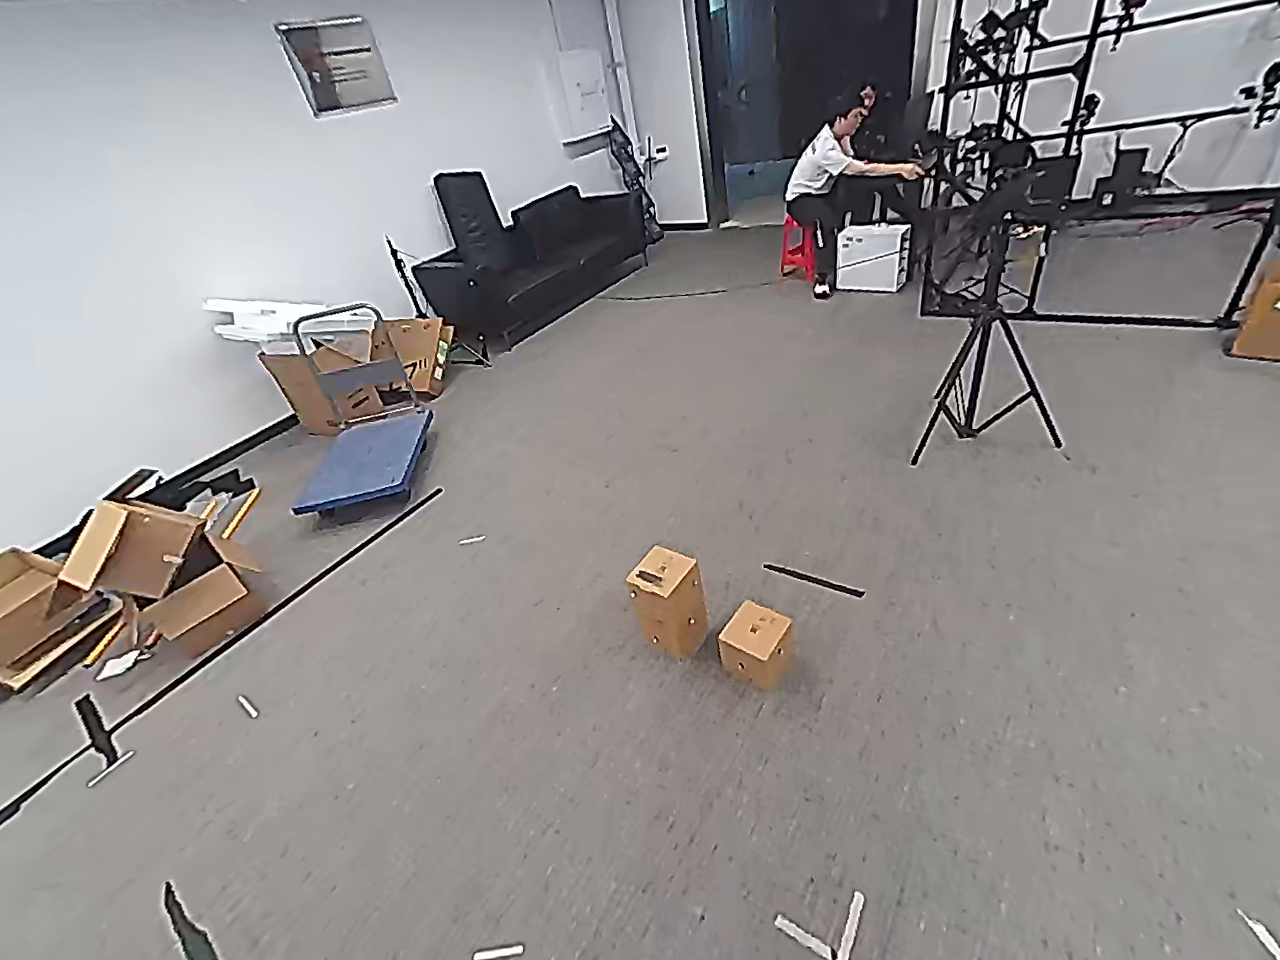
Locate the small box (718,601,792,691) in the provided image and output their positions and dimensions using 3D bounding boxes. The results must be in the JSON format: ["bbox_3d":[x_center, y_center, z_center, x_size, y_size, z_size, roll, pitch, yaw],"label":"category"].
[{"bbox_3d":[0.366,0.521,1.691,0.168,0.176,0.179,19,46,36],"label":"small box"}]

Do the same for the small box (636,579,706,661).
[{"bbox_3d":[0.113,0.475,1.845,0.168,0.176,0.179,17,46,36],"label":"small box"}]
